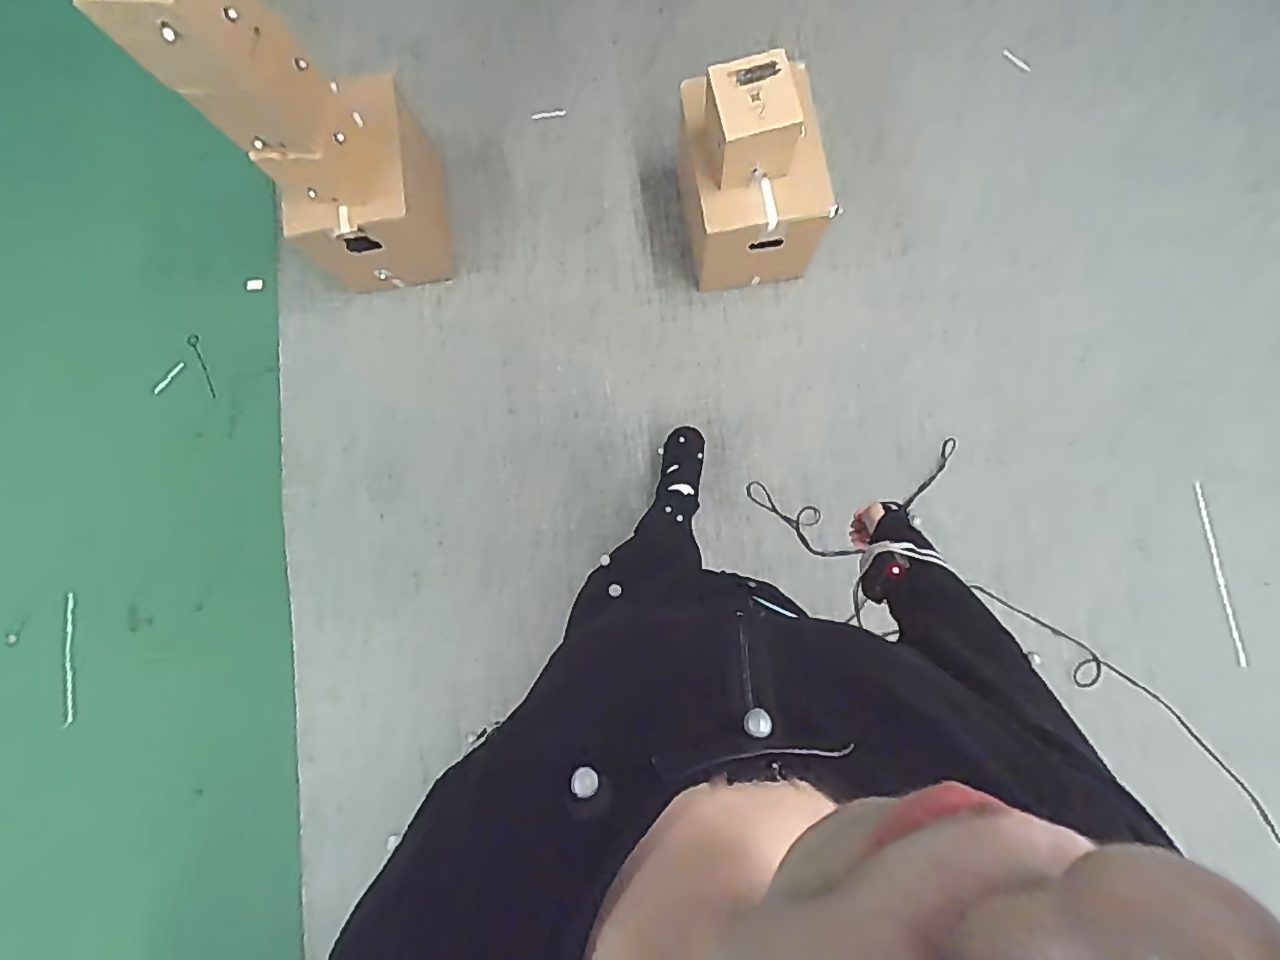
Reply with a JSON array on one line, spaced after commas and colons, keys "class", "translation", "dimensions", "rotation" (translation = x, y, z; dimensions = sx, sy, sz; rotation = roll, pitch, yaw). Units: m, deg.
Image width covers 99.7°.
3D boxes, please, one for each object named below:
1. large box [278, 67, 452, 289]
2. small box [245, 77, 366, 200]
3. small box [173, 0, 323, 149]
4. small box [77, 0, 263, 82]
[{"class": "large box", "translation": [-0.743, -0.803, 1.485], "dimensions": [0.320, 0.320, 0.408], "rotation": [-8, 83, 2]}, {"class": "small box", "translation": [-0.754, -0.777, 1.238], "dimensions": [0.168, 0.176, 0.179], "rotation": [2, 84, 3]}, {"class": "small box", "translation": [-0.769, -0.803, 1.078], "dimensions": [0.168, 0.176, 0.179], "rotation": [6, 85, 5]}, {"class": "small box", "translation": [-0.786, -0.816, 0.915], "dimensions": [0.179, 0.176, 0.168], "rotation": [6, 84, 4]}]
